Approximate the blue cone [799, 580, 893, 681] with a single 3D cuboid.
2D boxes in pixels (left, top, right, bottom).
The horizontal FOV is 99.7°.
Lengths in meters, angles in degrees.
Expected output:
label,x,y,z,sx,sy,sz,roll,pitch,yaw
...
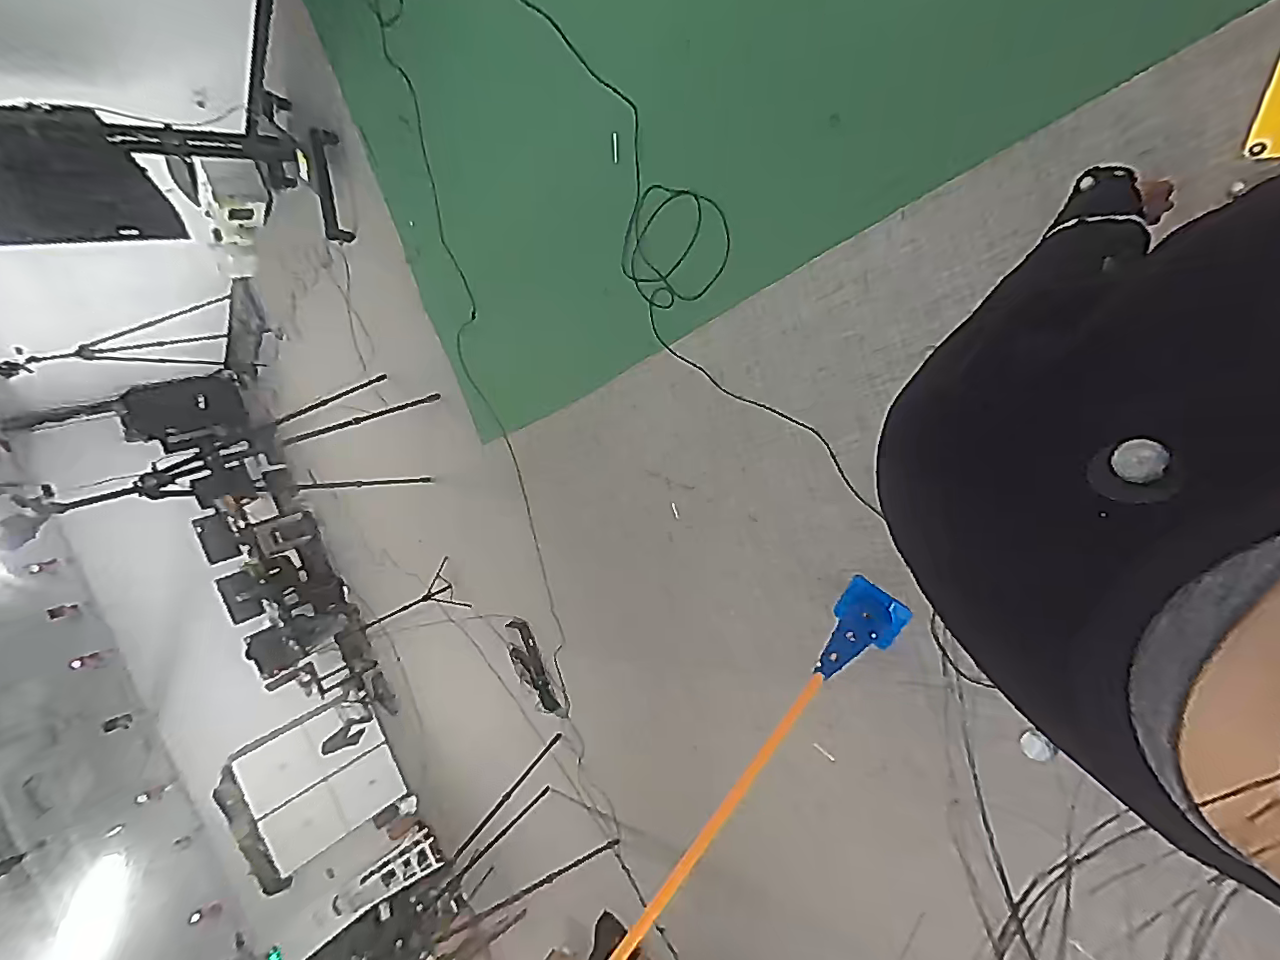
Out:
label,x,y,z,sx,sy,sz,roll,pitch,yaw
blue cone,0.595,0.490,1.636,0.192,0.380,0.193,35,133,28
